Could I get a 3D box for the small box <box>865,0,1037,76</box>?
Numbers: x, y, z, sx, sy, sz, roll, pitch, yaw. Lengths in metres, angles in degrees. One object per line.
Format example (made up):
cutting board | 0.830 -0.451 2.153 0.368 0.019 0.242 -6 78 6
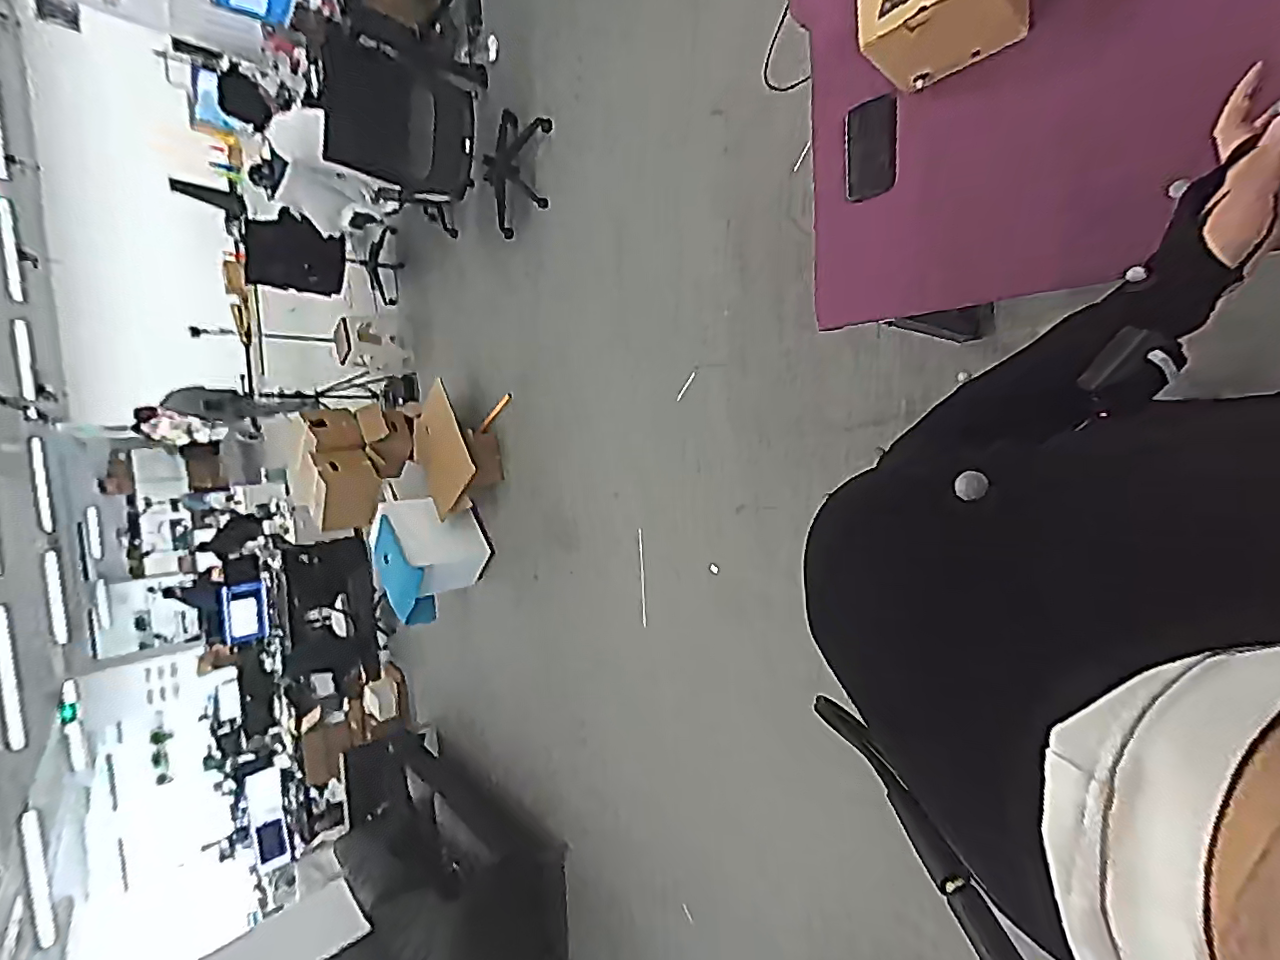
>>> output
small box | 0.425 -0.698 0.738 0.168 0.176 0.179 1 95 48
